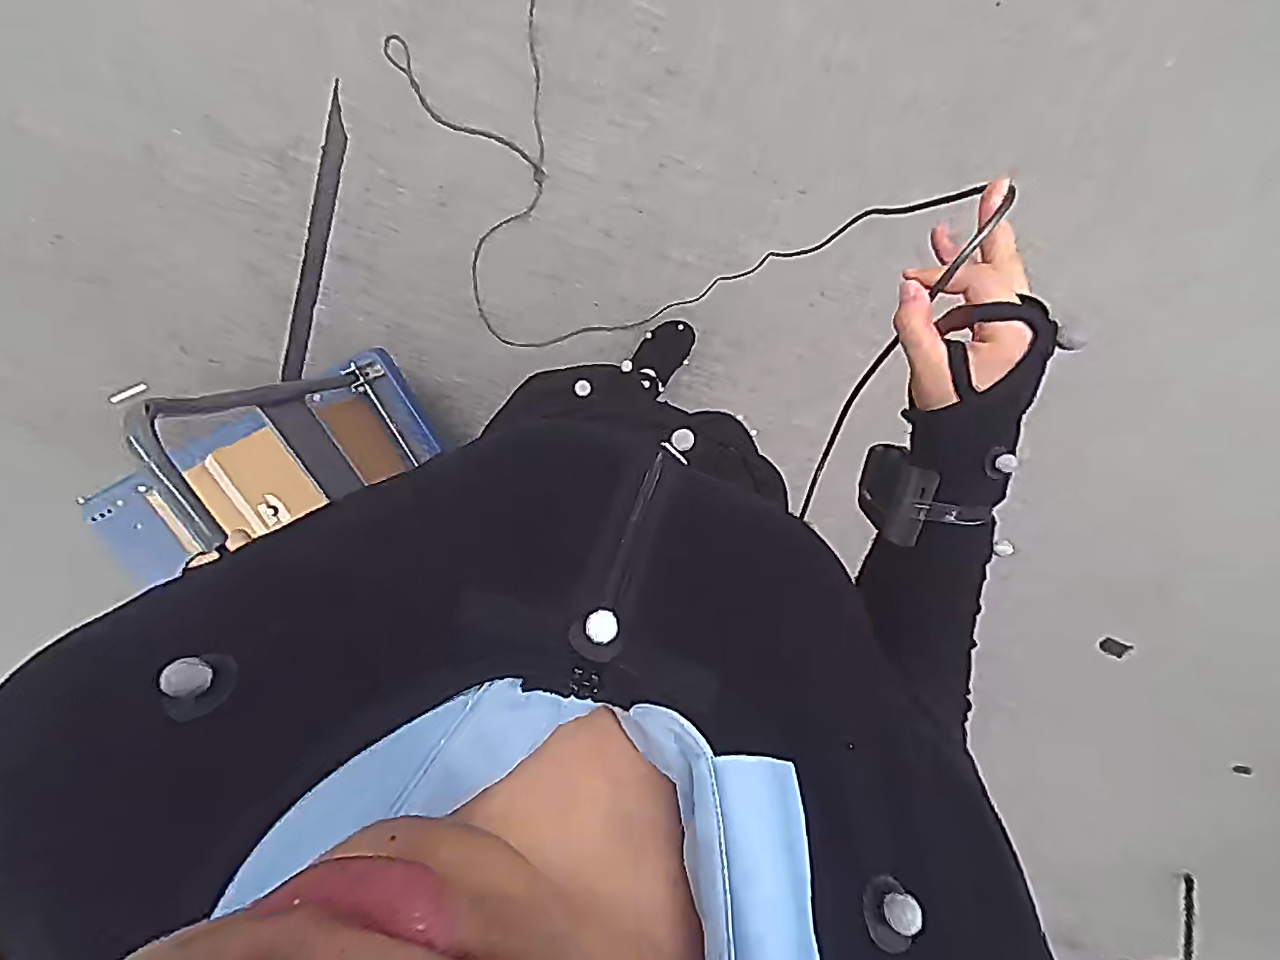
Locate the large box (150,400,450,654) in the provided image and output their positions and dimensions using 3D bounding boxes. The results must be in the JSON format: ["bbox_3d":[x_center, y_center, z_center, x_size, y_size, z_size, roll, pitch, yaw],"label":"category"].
[{"bbox_3d":[-0.691,0.085,1.179,0.320,0.320,0.408,-26,104,5],"label":"large box"}]
